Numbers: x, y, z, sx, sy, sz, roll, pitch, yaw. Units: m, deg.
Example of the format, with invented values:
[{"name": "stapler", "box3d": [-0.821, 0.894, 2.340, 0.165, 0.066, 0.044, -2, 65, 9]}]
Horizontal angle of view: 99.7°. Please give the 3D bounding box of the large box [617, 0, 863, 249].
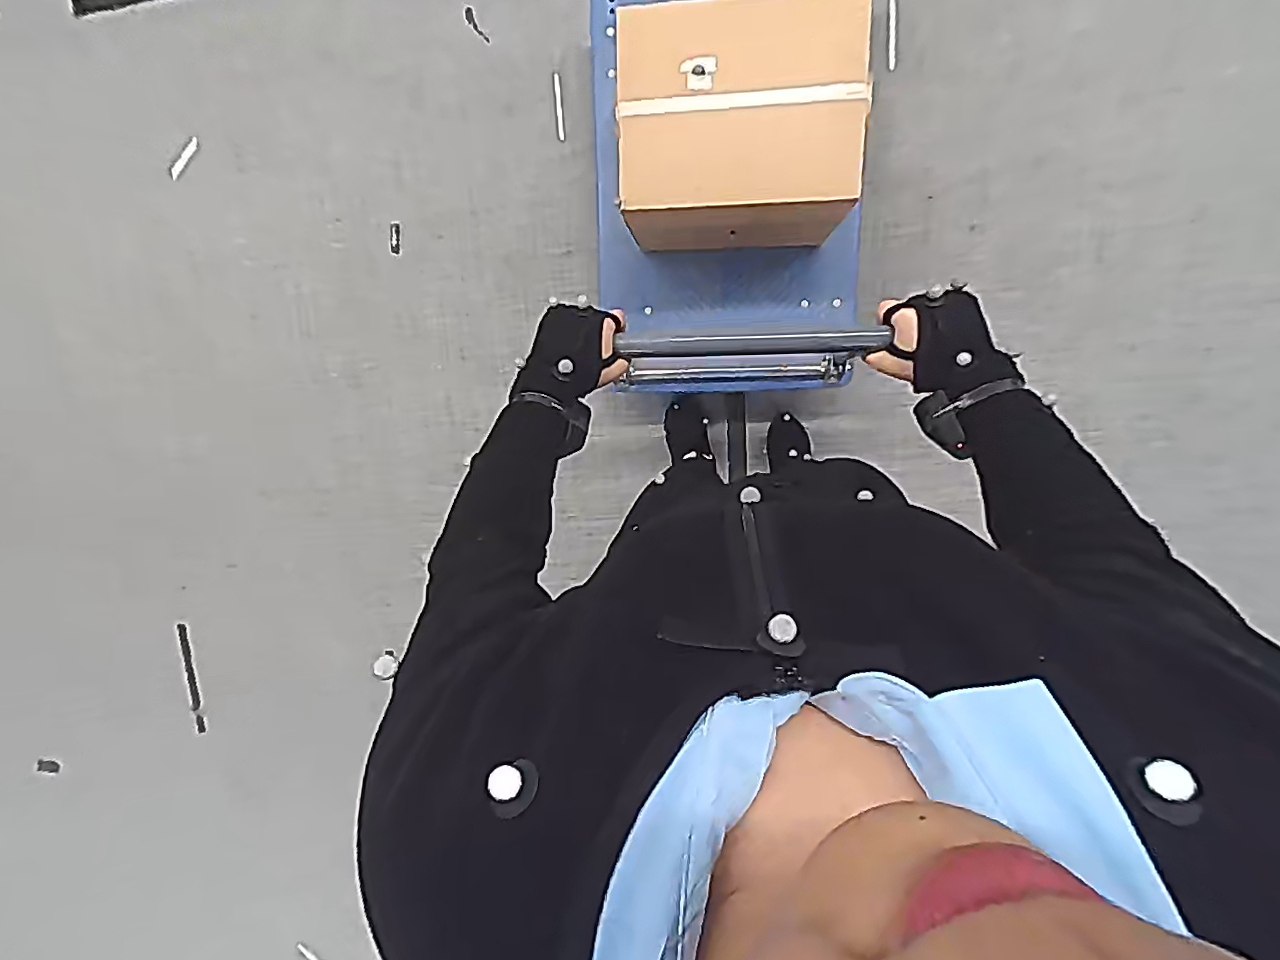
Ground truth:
[{"name": "large box", "box3d": [0.184, -0.651, 1.048, 0.408, 0.320, 0.320, 1, 99, 8]}]
